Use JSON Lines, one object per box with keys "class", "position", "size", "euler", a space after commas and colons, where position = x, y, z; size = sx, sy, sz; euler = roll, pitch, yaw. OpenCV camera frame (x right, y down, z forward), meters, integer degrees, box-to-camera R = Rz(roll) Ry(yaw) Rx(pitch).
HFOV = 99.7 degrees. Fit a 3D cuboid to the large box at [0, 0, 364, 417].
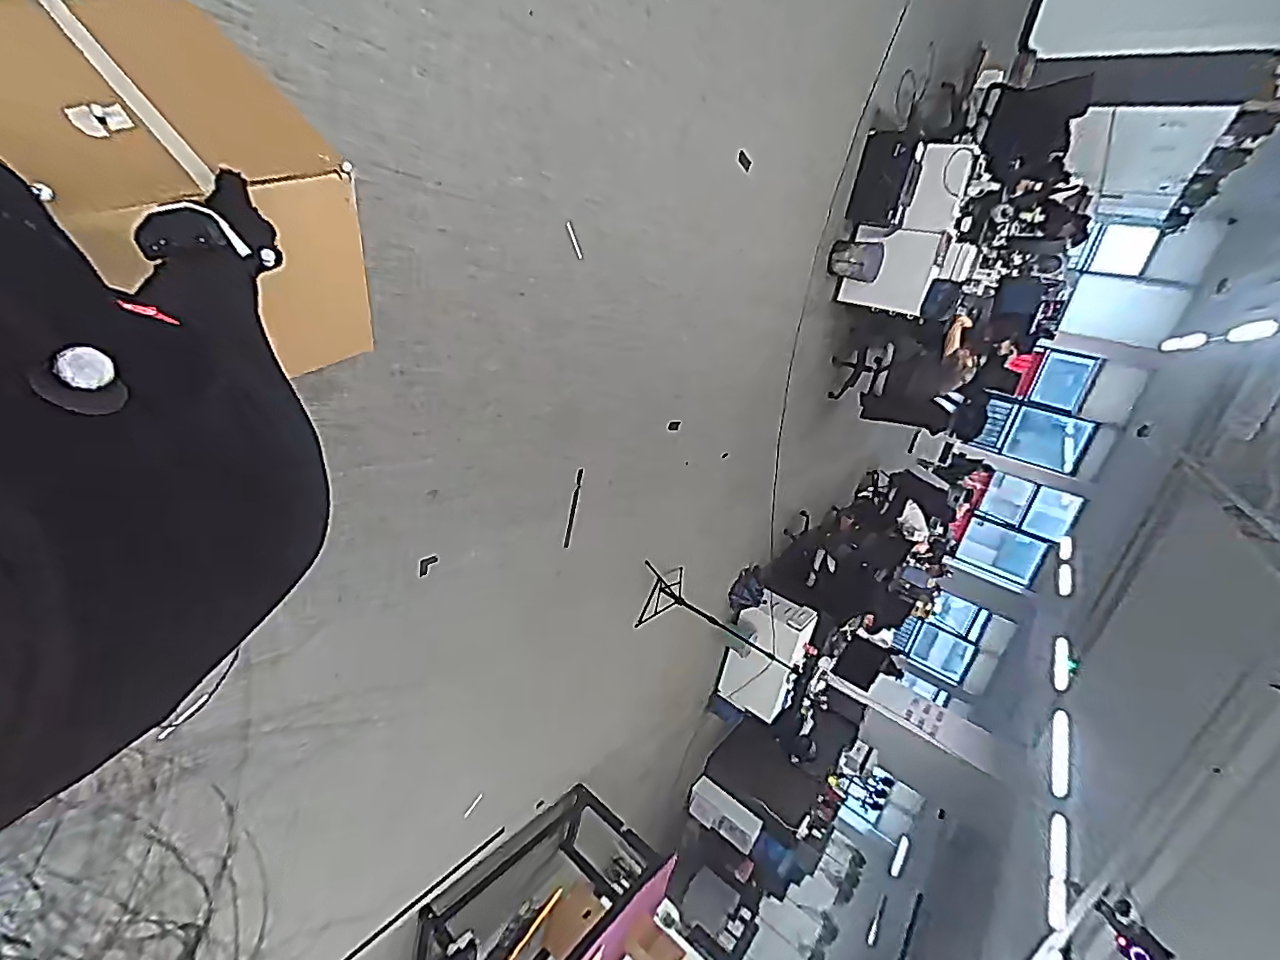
{"class": "large box", "position": [-0.648, -0.369, 0.745], "size": [0.320, 0.408, 0.320], "euler": [-36, 168, -34]}
